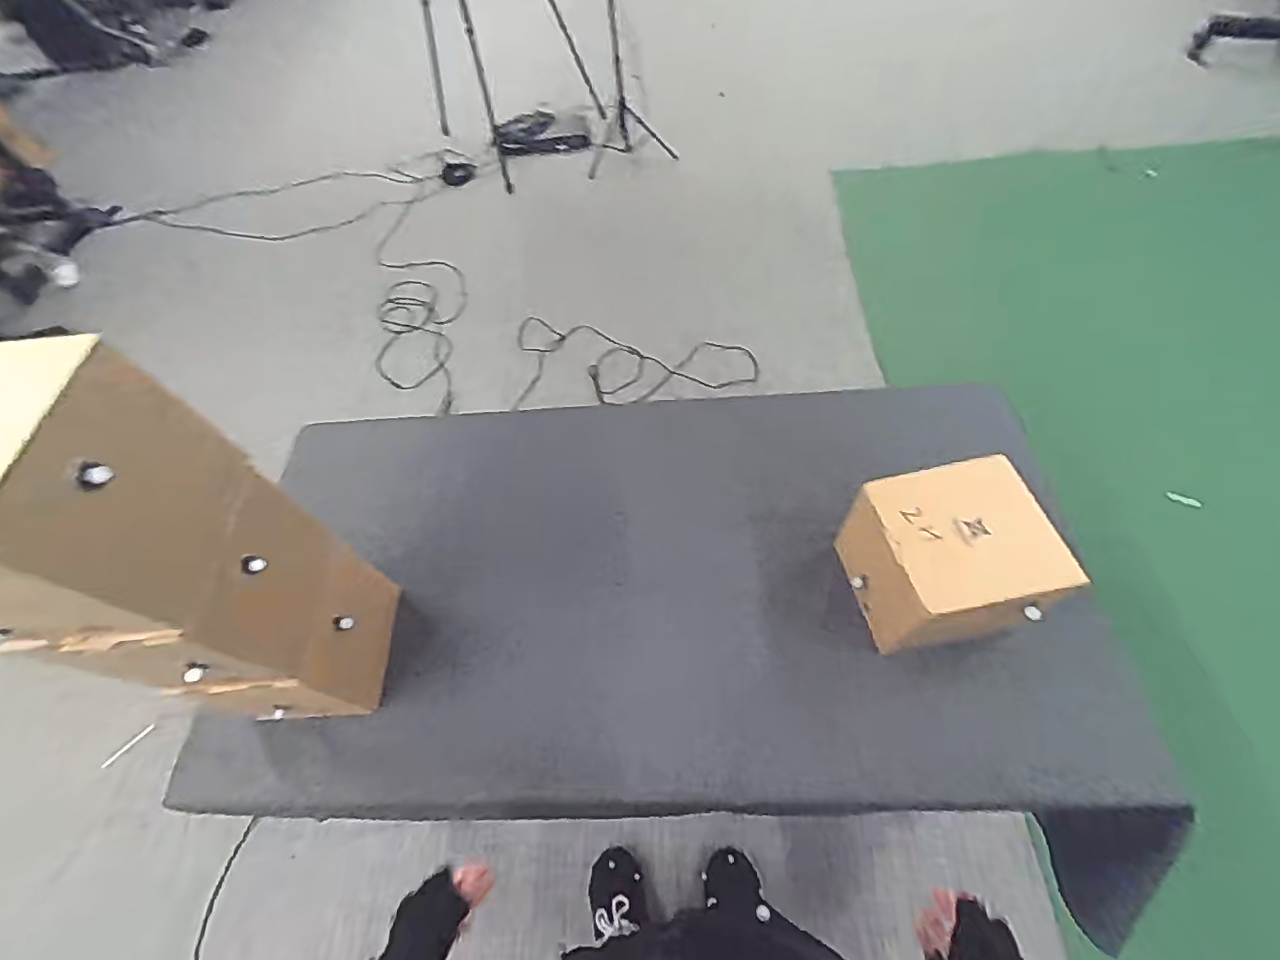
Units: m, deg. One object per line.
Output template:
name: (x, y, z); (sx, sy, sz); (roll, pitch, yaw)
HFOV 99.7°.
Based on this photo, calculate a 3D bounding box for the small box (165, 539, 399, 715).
small box: (-0.436, 0.194, 0.698); (0.168, 0.176, 0.179); (-5, 58, 3)

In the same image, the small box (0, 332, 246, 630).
small box: (-0.463, 0.012, 0.427); (0.168, 0.176, 0.179); (-5, 58, 2)

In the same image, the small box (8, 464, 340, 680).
small box: (-0.448, 0.105, 0.562); (0.168, 0.176, 0.179); (-4, 58, 3)

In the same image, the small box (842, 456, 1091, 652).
small box: (0.373, 0.097, 0.661); (0.179, 0.176, 0.168); (-12, 57, 0)
